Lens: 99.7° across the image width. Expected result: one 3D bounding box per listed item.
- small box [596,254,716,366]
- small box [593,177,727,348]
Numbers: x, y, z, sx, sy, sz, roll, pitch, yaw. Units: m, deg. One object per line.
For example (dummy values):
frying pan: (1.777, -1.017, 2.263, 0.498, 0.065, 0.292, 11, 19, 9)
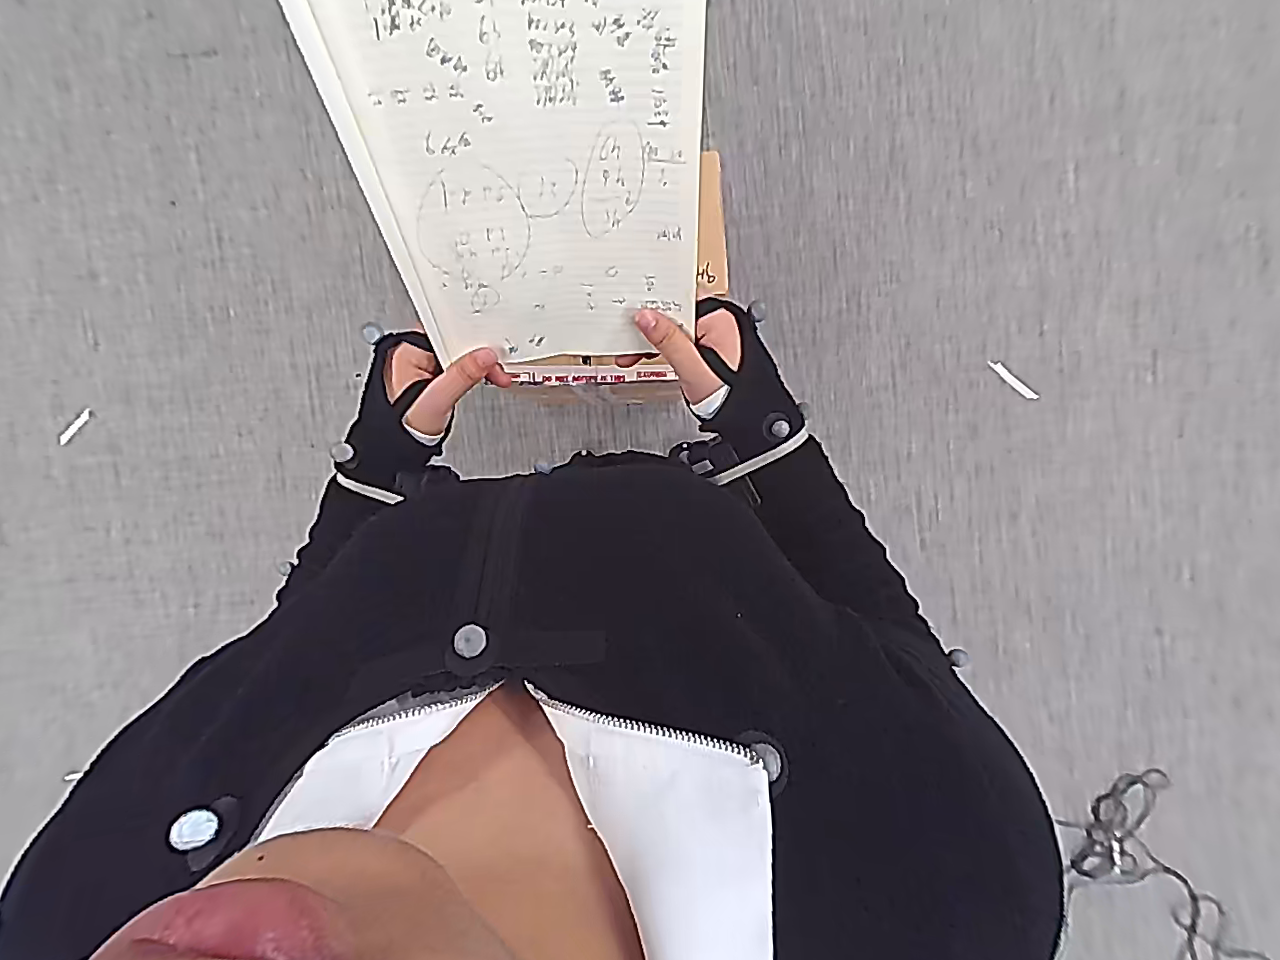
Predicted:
small box: (0.025, -0.297, 0.930, 0.179, 0.176, 0.168, -7, 93, 1)
small box: (0.023, -0.296, 0.766, 0.168, 0.176, 0.179, -4, 93, -1)
